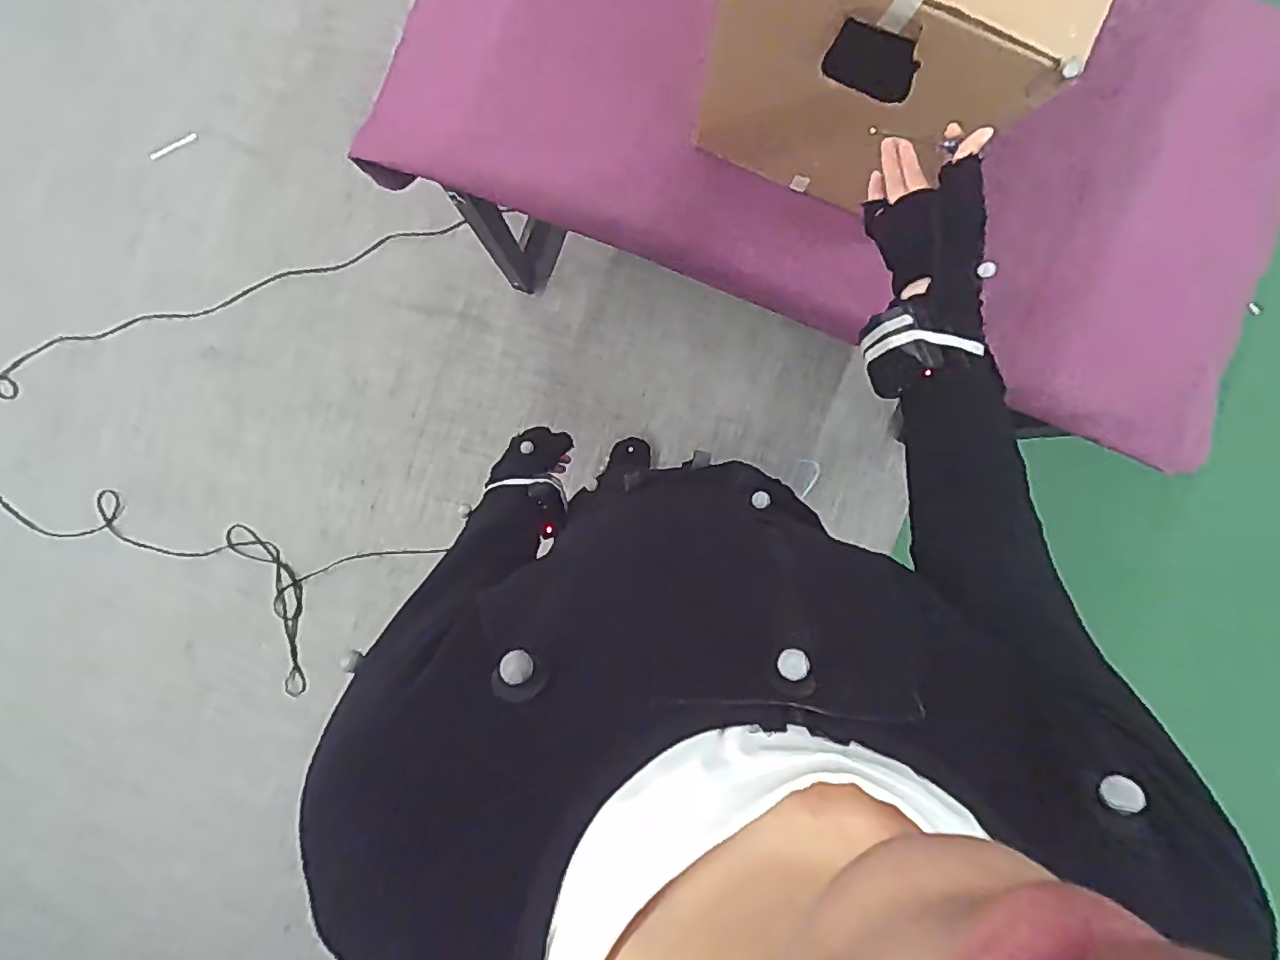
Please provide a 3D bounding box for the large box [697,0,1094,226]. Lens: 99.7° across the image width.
[{"bbox_3d":[0.292,-0.587,0.606,0.320,0.320,0.408,22,92,-1],"label":"large box"}]
